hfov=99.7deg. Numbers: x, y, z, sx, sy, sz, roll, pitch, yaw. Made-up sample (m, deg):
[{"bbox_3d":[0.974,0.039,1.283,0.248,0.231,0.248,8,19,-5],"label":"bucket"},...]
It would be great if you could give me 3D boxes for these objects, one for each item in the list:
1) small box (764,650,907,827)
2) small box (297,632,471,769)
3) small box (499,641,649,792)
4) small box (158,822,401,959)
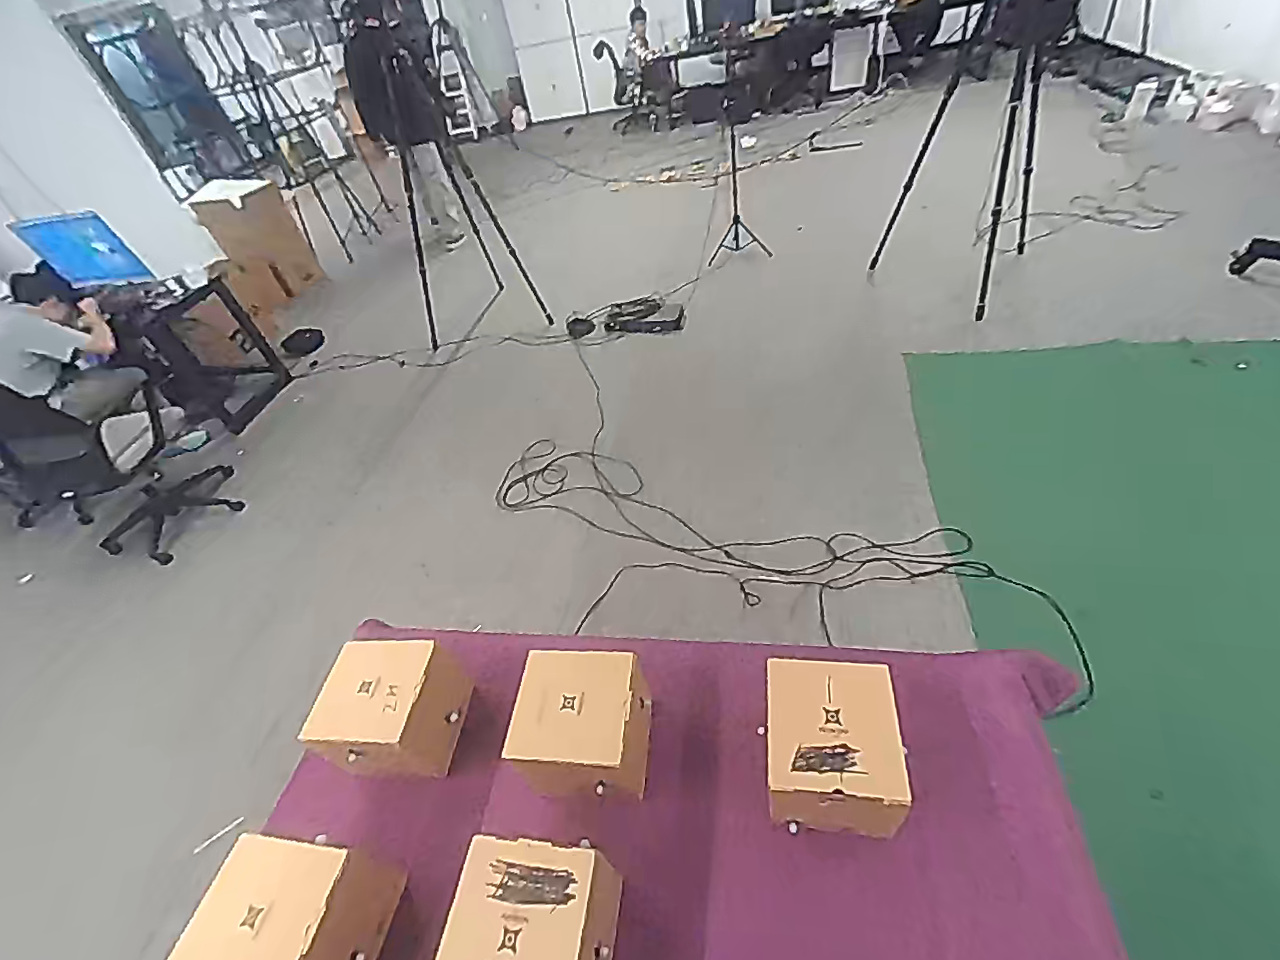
[{"bbox_3d":[0.261,0.362,0.757,0.168,0.176,0.179,-1,45,14],"label":"small box"},{"bbox_3d":[-0.418,0.374,0.915,0.179,0.176,0.168,-3,46,11],"label":"small box"},{"bbox_3d":[-0.088,0.368,0.841,0.179,0.176,0.168,-2,45,13],"label":"small box"},{"bbox_3d":[-0.462,0.582,0.717,0.179,0.176,0.168,0,44,13],"label":"small box"}]
